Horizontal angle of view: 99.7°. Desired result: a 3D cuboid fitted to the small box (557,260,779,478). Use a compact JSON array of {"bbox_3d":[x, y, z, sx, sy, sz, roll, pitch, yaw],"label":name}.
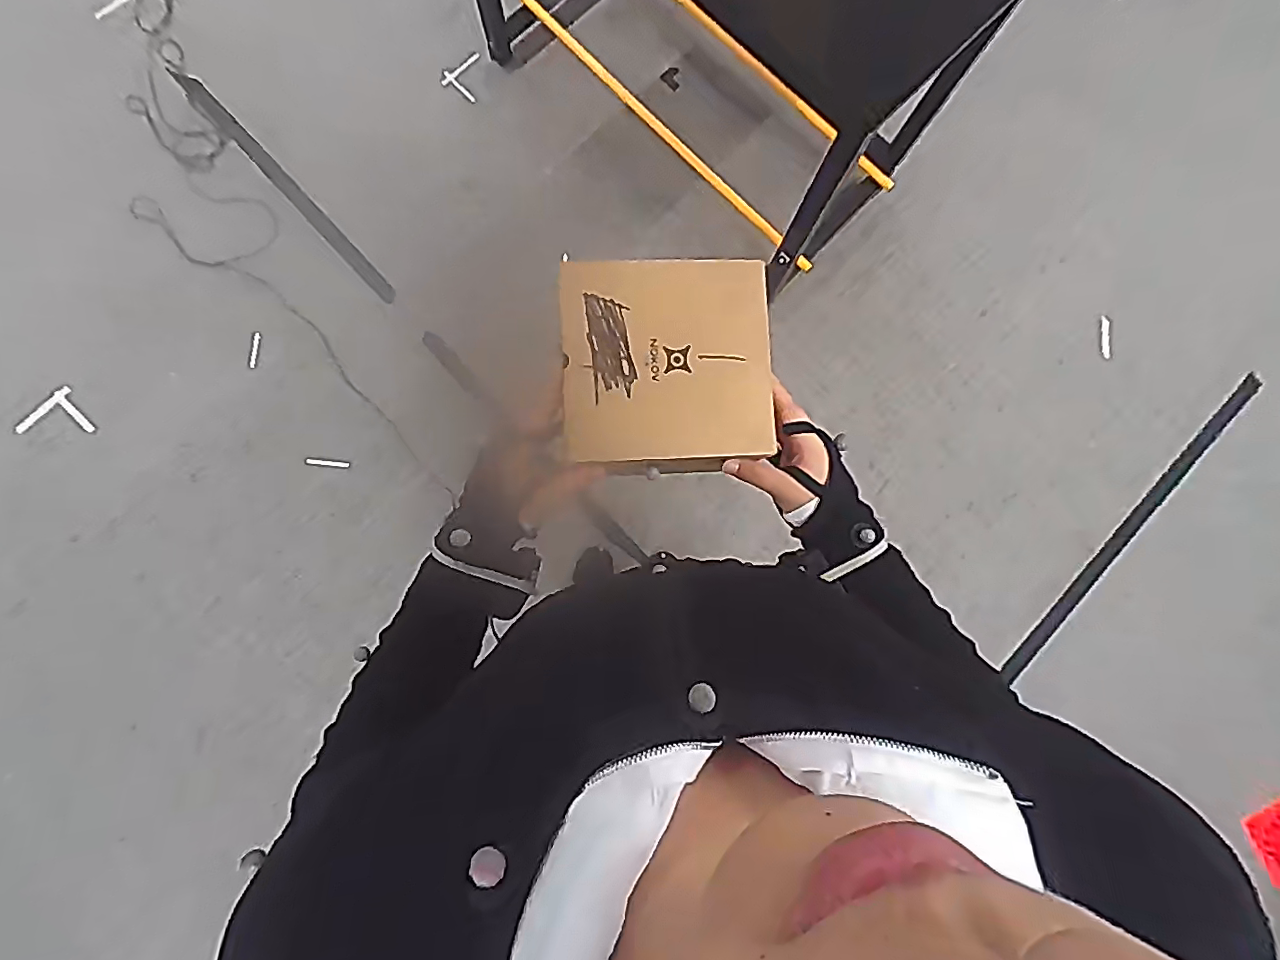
[{"bbox_3d":[0.018,-0.092,0.516,0.179,0.176,0.168,-3,87,-5],"label":"small box"}]
